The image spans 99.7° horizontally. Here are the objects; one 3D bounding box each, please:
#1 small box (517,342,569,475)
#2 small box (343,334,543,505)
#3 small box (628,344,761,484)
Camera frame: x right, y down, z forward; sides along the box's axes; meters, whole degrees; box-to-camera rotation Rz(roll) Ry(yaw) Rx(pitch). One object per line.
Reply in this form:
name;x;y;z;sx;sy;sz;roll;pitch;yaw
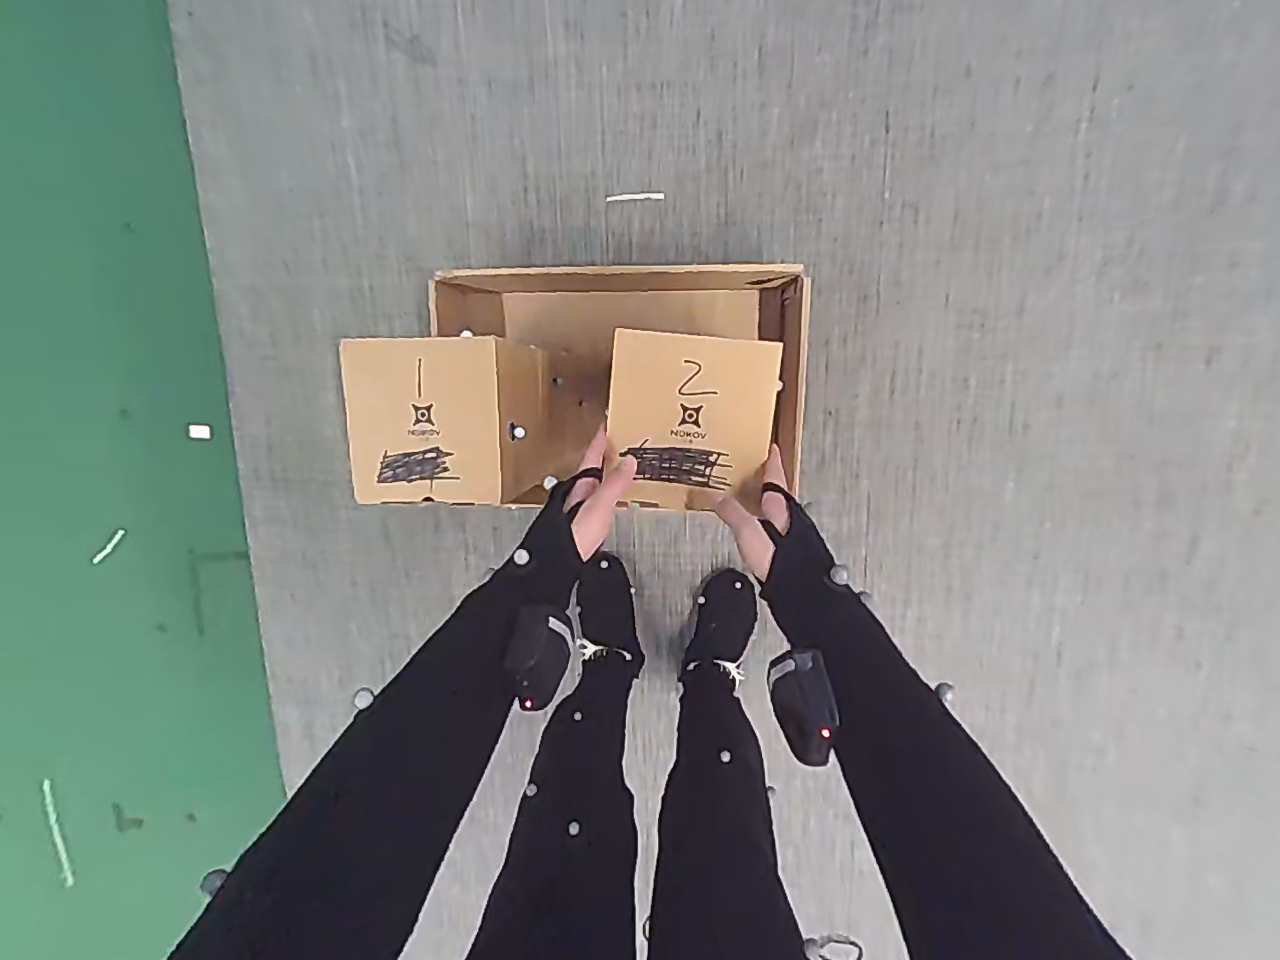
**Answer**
small box;-0.202;-0.109;0.796;0.168;0.176;0.179;2;101;3
small box;-0.215;-0.075;0.635;0.168;0.176;0.179;1;100;4
small box;0.074;-0.098;0.777;0.168;0.176;0.179;3;102;4
